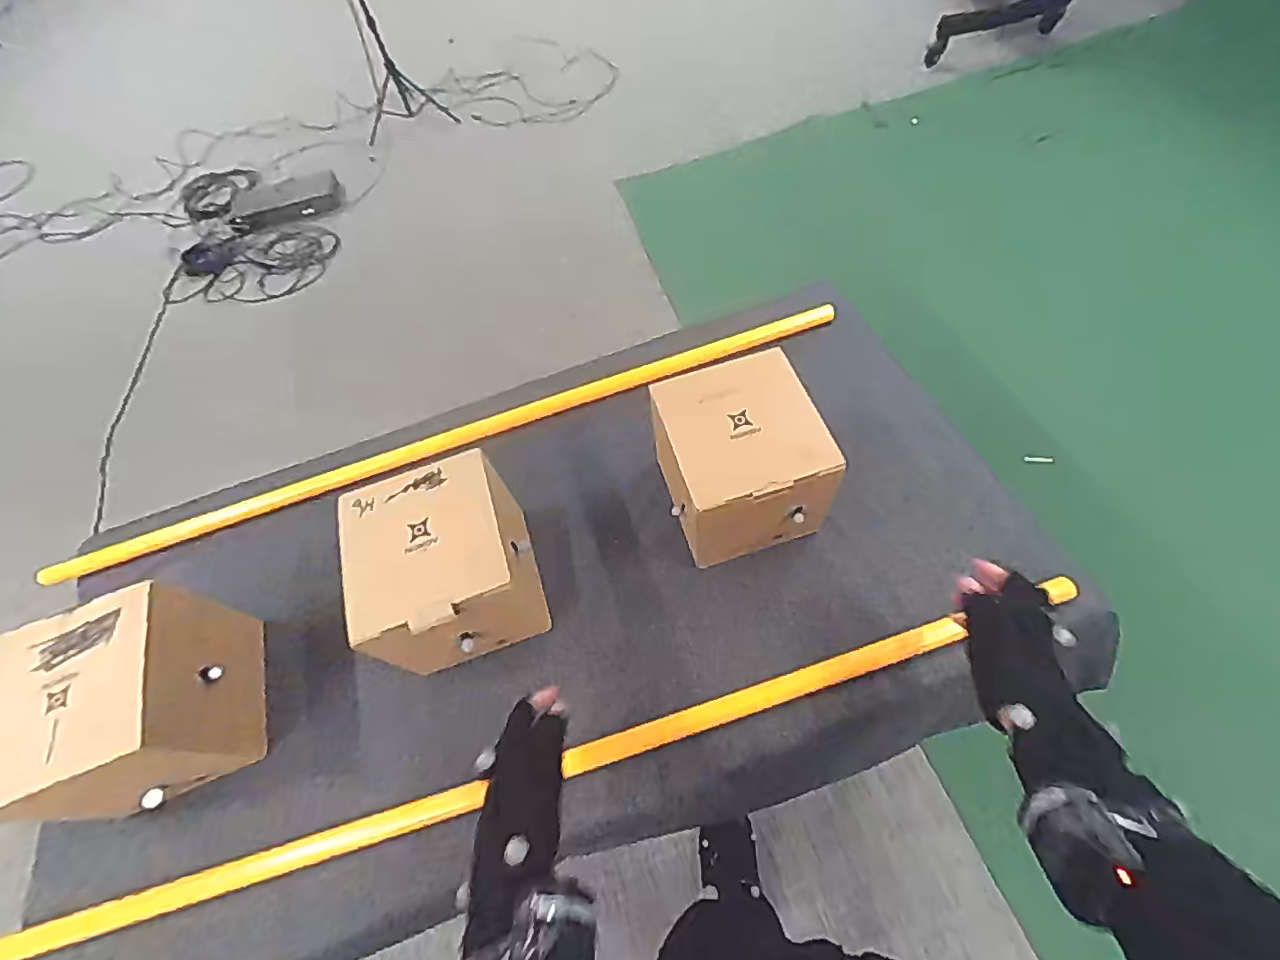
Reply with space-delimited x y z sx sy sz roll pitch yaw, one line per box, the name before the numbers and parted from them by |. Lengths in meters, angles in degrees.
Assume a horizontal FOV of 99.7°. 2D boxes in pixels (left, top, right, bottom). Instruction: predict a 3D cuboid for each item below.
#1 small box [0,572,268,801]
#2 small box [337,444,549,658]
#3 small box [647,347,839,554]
small box | -0.545 0.232 0.594 0.168 0.176 0.179 -21 61 -6
small box | -0.222 0.095 0.637 0.168 0.176 0.179 -23 60 -4
small box | 0.116 -0.025 0.663 0.168 0.176 0.179 -17 59 -4
